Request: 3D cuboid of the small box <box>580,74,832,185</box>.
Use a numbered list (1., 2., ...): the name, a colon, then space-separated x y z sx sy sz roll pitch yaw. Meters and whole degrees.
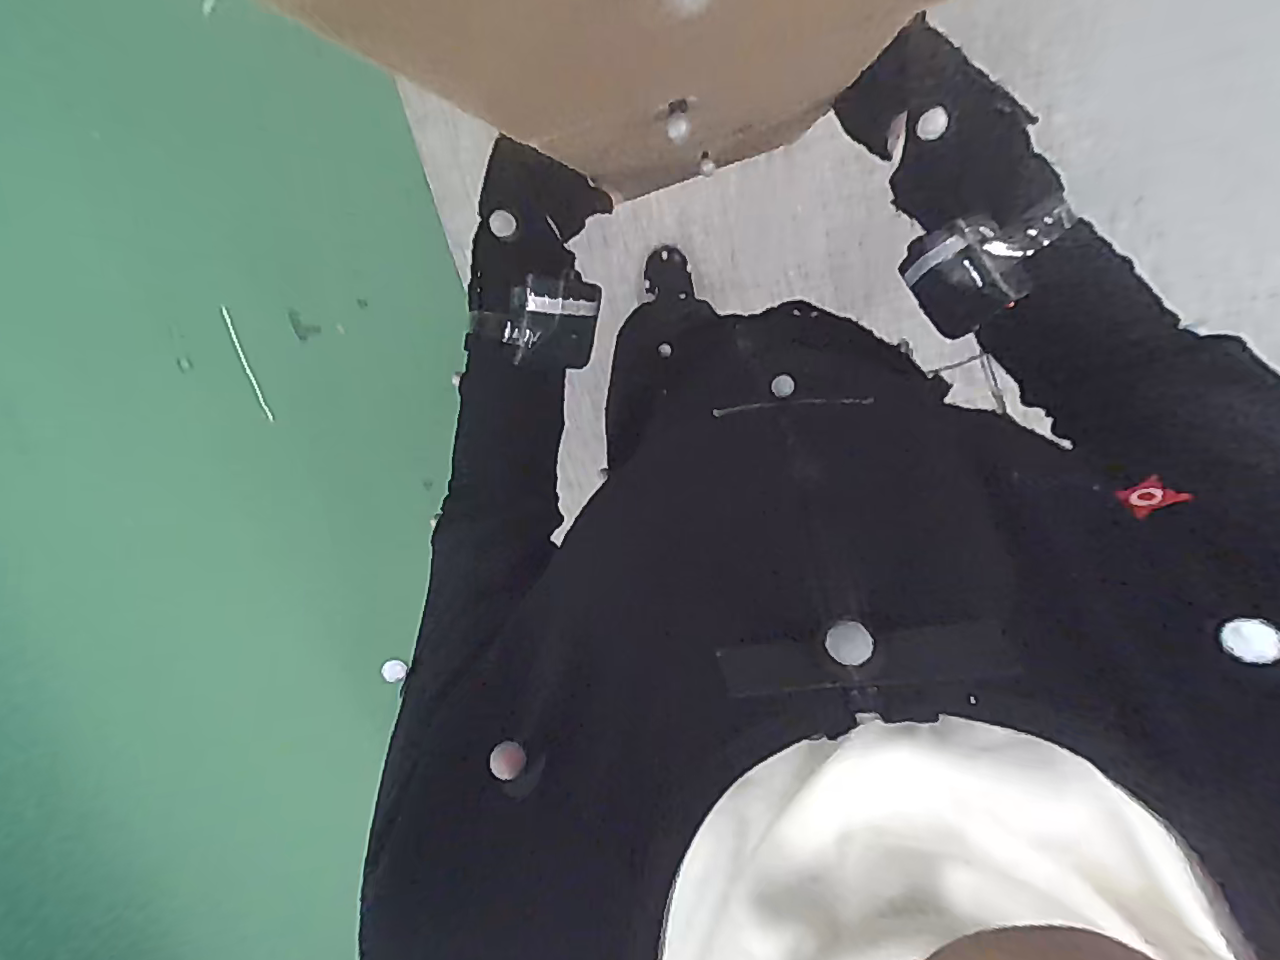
1. small box: 0.032 -0.346 0.415 0.179 0.176 0.168 -14 111 11
